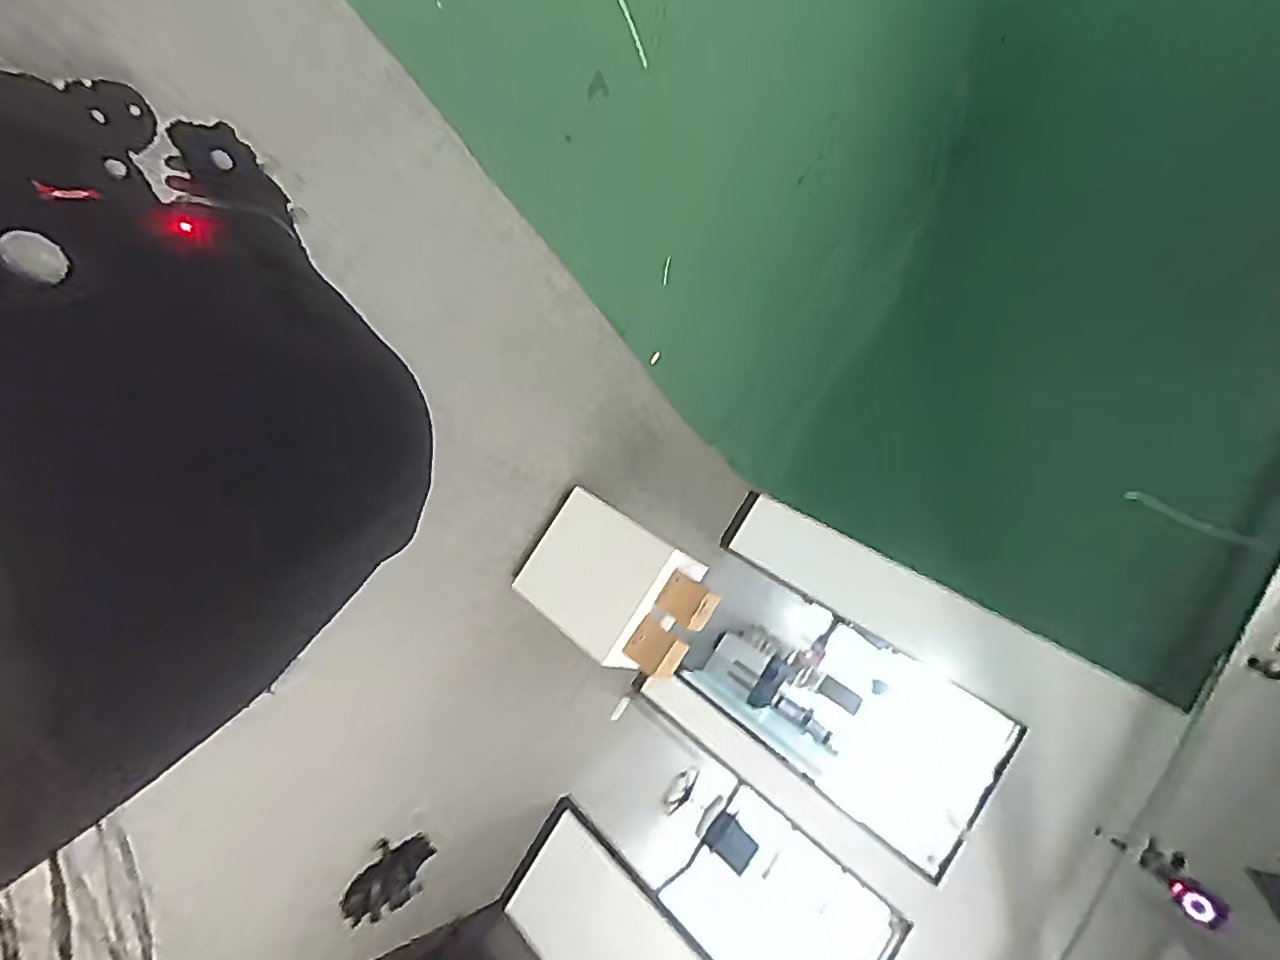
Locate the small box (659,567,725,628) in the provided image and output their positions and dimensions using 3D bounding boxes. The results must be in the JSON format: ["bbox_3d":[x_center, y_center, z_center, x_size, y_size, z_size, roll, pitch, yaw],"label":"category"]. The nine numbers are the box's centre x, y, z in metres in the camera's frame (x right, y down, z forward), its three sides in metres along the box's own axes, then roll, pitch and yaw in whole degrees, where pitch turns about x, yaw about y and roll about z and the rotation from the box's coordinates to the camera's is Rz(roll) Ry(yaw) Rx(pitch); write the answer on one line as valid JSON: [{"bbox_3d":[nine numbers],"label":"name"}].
[{"bbox_3d":[0.203,0.461,2.127,0.168,0.176,0.179,-58,149,-2],"label":"small box"}]

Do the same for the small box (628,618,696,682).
[{"bbox_3d":[0.086,0.655,2.093,0.168,0.176,0.179,-56,146,-8],"label":"small box"}]
